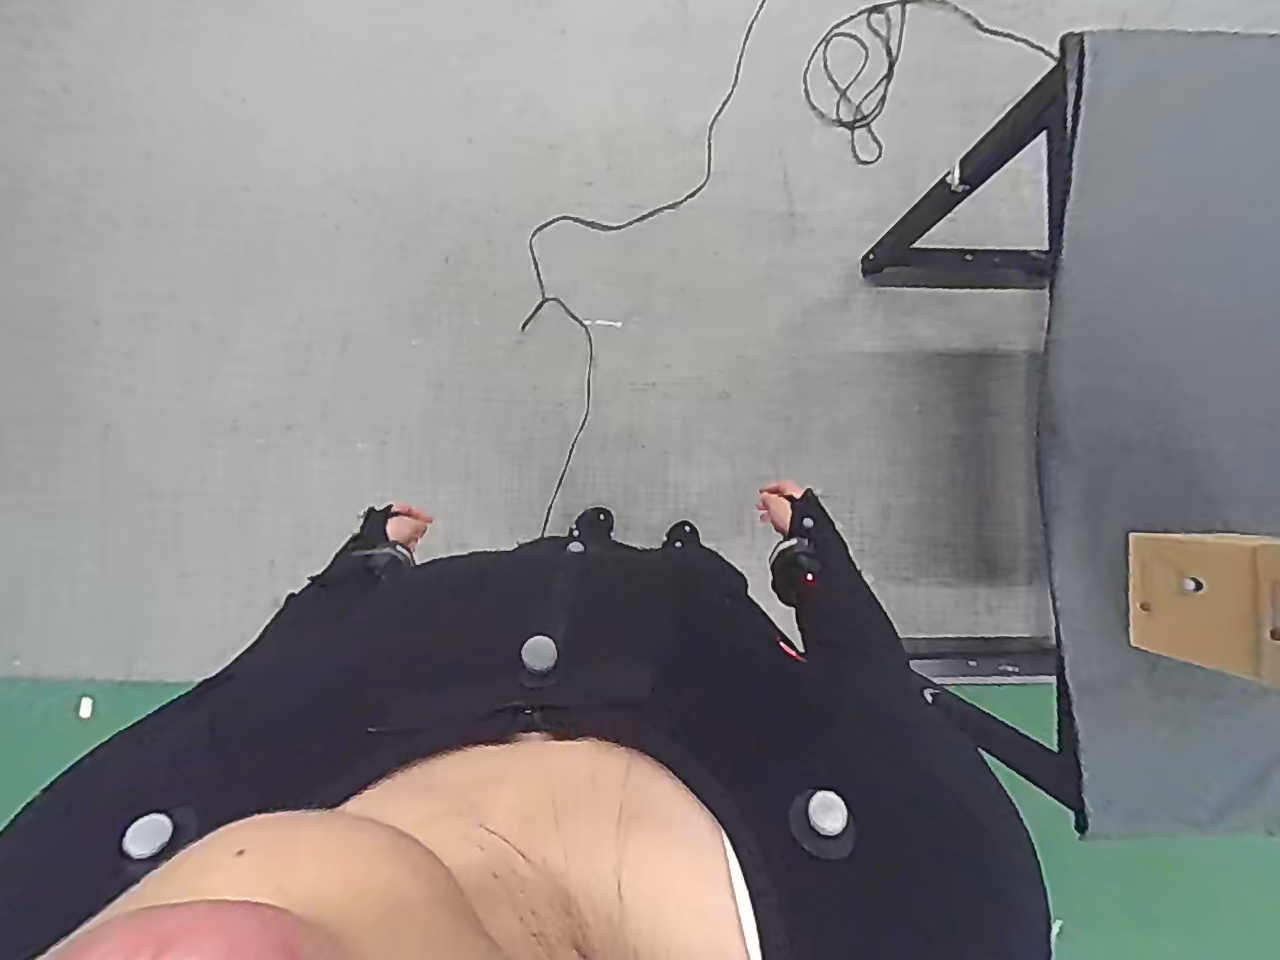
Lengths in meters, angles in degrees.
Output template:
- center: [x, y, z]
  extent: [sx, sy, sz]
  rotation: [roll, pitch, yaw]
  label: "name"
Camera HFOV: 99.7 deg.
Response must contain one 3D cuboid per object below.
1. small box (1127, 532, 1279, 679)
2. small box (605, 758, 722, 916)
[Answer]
- center: [0.801, 0.158, 0.721]
  extent: [0.179, 0.176, 0.168]
  rotation: [1, 88, -4]
  label: "small box"
- center: [0.041, 0.691, 1.068]
  extent: [0.179, 0.176, 0.168]
  rotation: [-22, 88, -4]
  label: "small box"
